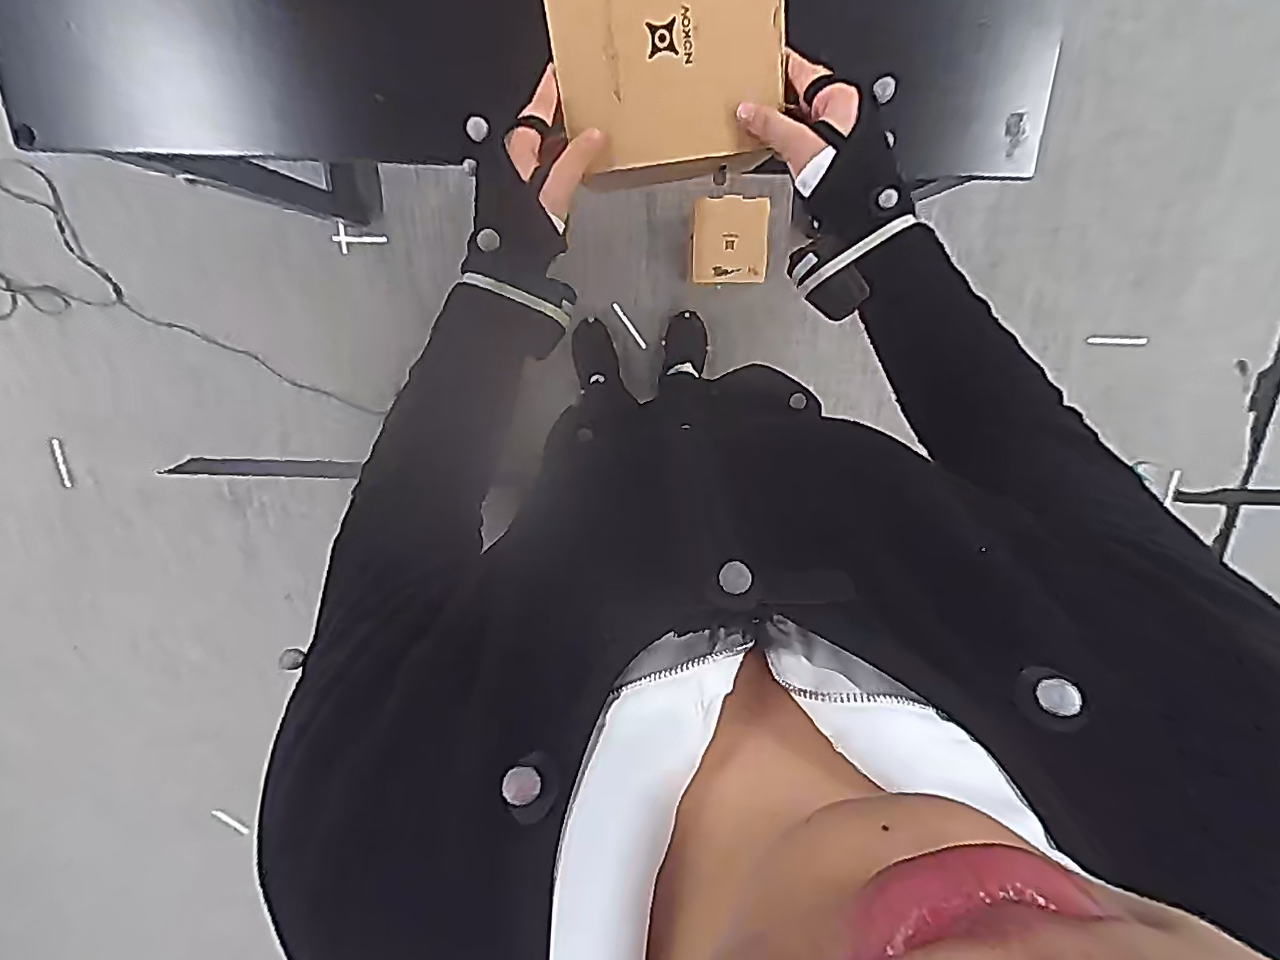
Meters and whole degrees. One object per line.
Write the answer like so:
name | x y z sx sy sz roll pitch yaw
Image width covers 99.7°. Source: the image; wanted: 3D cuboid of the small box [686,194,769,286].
small box | 0.196 -0.554 1.266 0.168 0.176 0.179 1 107 1

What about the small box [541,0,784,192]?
small box | 0.018 -0.363 0.475 0.179 0.176 0.168 -7 112 4
